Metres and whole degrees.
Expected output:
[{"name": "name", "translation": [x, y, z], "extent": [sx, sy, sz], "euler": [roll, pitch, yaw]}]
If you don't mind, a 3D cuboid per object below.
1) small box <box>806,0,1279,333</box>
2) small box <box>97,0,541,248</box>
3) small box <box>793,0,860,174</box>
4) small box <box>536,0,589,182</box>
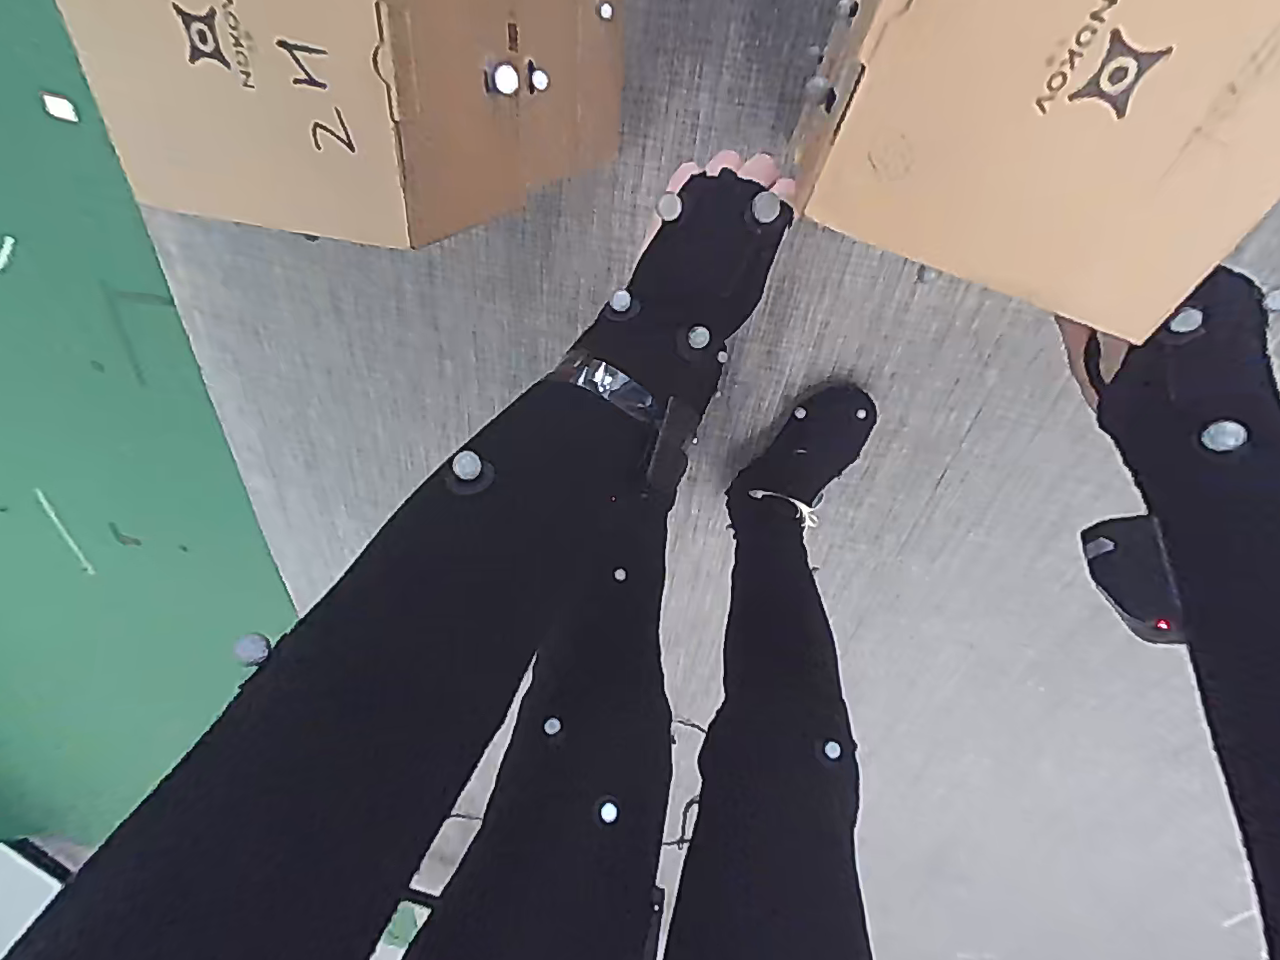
[{"name": "small box", "translation": [0.200, -0.206, 0.278], "extent": [0.179, 0.176, 0.168], "euler": [21, 128, -1]}, {"name": "small box", "translation": [-0.174, -0.258, 0.333], "extent": [0.179, 0.176, 0.168], "euler": [12, 125, 6]}, {"name": "small box", "translation": [0.265, -0.389, 0.538], "extent": [0.168, 0.176, 0.179], "euler": [19, 127, 1]}, {"name": "small box", "translation": [-0.145, -0.359, 0.460], "extent": [0.168, 0.176, 0.179], "euler": [11, 124, 6]}]
